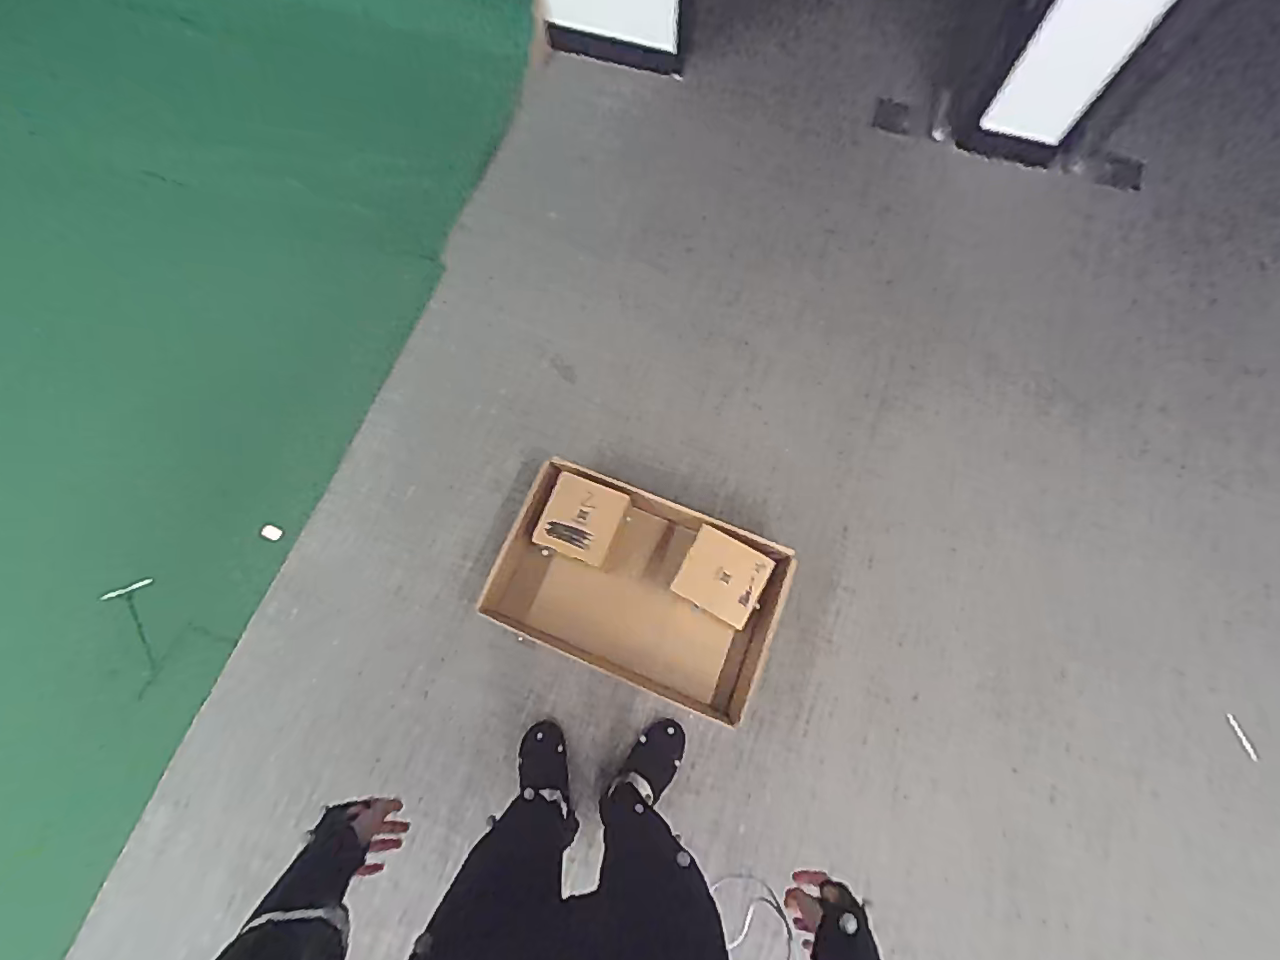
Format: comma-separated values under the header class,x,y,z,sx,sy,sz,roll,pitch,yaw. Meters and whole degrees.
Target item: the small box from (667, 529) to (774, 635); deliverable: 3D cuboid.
class,x,y,z,sx,sy,sz,roll,pitch,yaw
small box,0.176,0.237,1.223,0.179,0.176,0.168,30,78,12
